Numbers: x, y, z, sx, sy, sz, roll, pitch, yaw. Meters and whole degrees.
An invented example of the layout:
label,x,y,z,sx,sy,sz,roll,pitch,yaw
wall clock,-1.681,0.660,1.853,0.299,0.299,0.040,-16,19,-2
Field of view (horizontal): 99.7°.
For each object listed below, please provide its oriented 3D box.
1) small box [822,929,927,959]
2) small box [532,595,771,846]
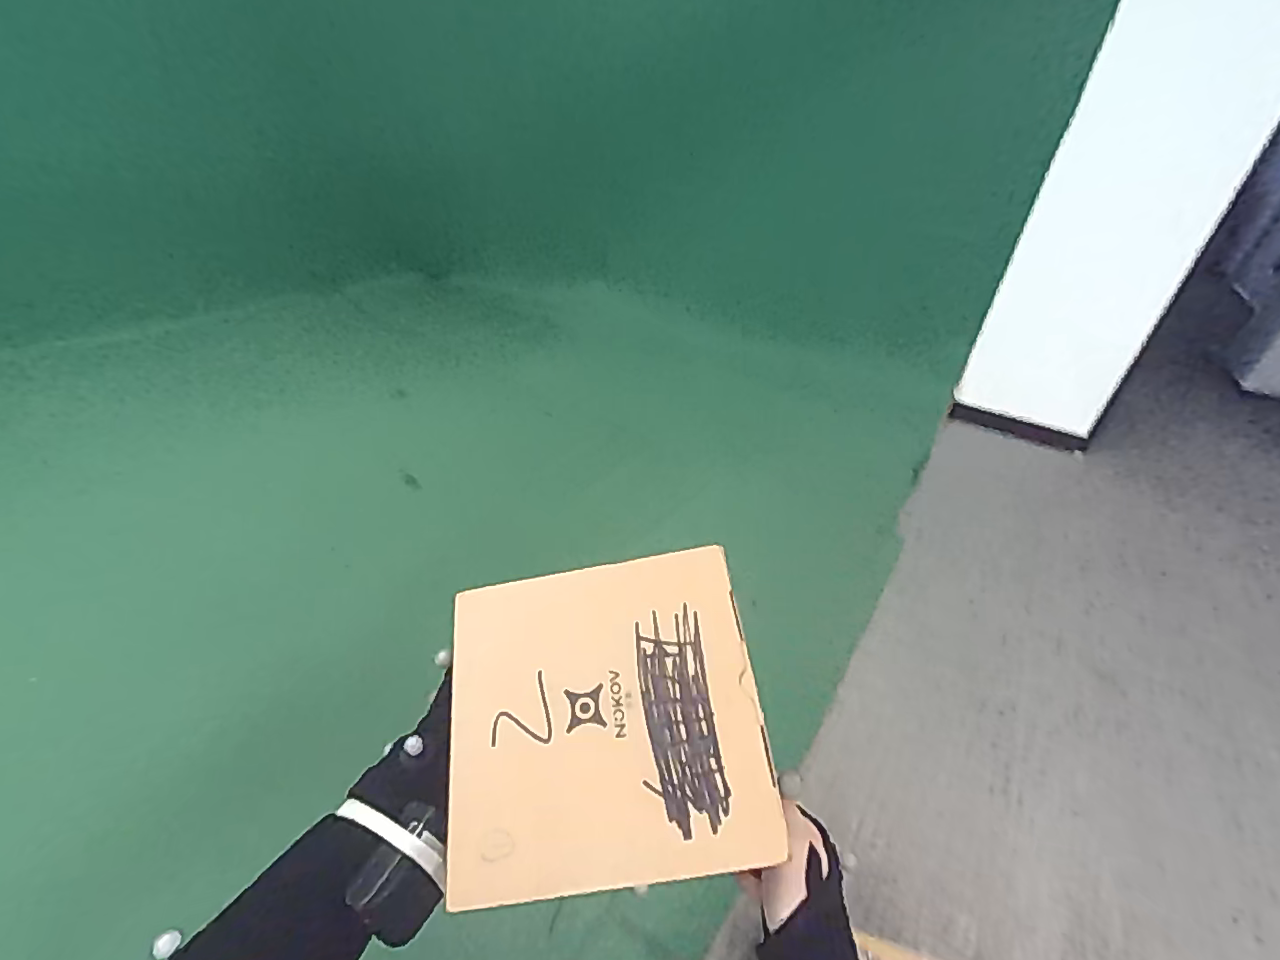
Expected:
label,x,y,z,sx,sy,sz,roll,pitch,yaw
small box,0.299,0.682,0.628,0.168,0.176,0.179,13,36,13
small box,0.013,0.228,0.513,0.179,0.176,0.168,-14,61,1
